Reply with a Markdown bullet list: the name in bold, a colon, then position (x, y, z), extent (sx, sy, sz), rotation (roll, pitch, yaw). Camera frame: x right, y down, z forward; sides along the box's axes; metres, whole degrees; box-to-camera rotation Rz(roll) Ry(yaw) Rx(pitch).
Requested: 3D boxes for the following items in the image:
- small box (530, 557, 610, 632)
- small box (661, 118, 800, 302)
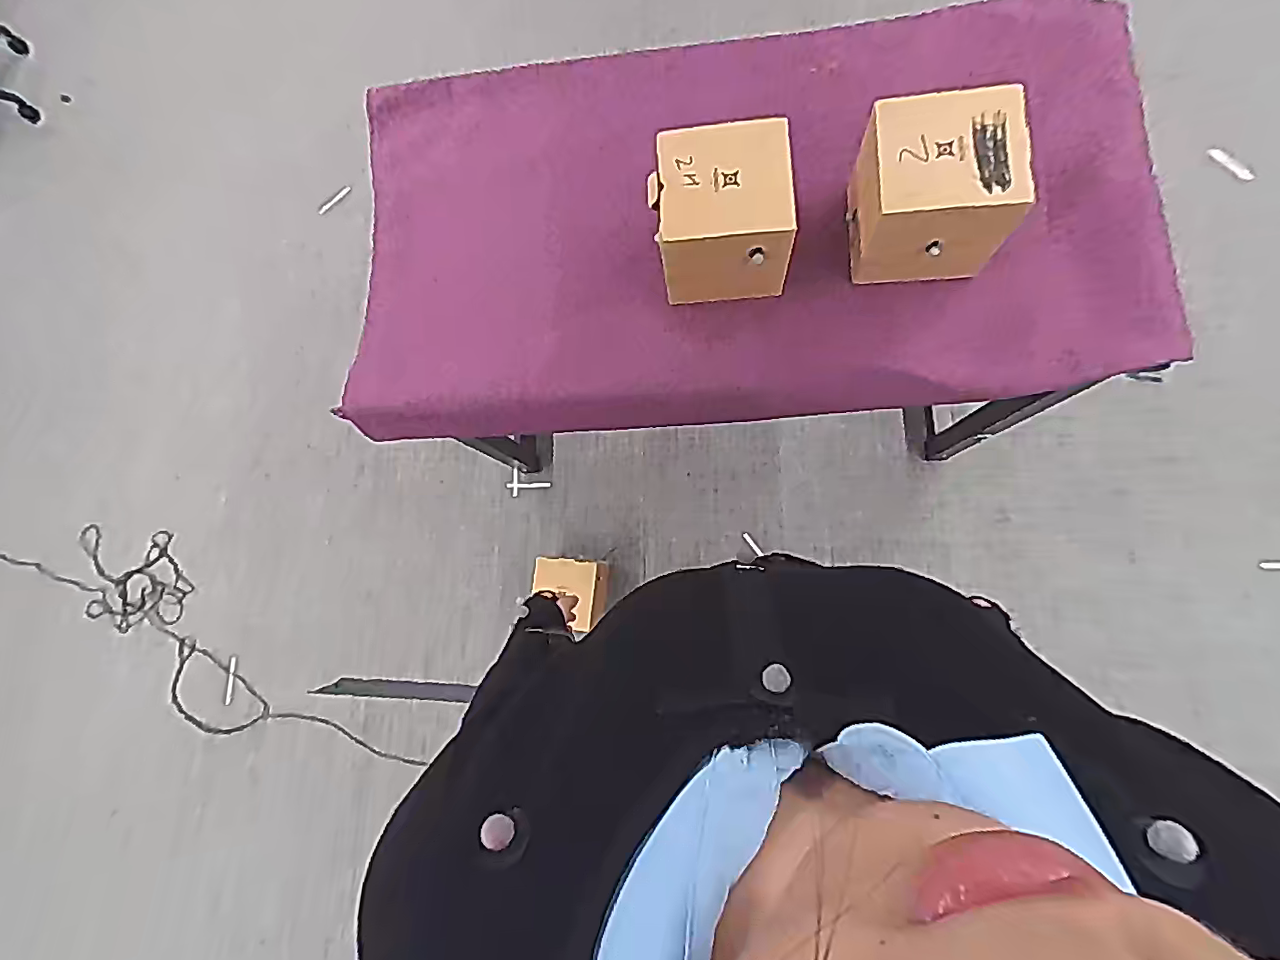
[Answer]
- **small box**: position (-0.182, 0.304, 1.461), extent (0.168, 0.176, 0.179), rotation (5, 81, 9)
- **small box**: position (0.125, -0.377, 0.781), extent (0.179, 0.176, 0.168), rotation (-3, 79, 8)
